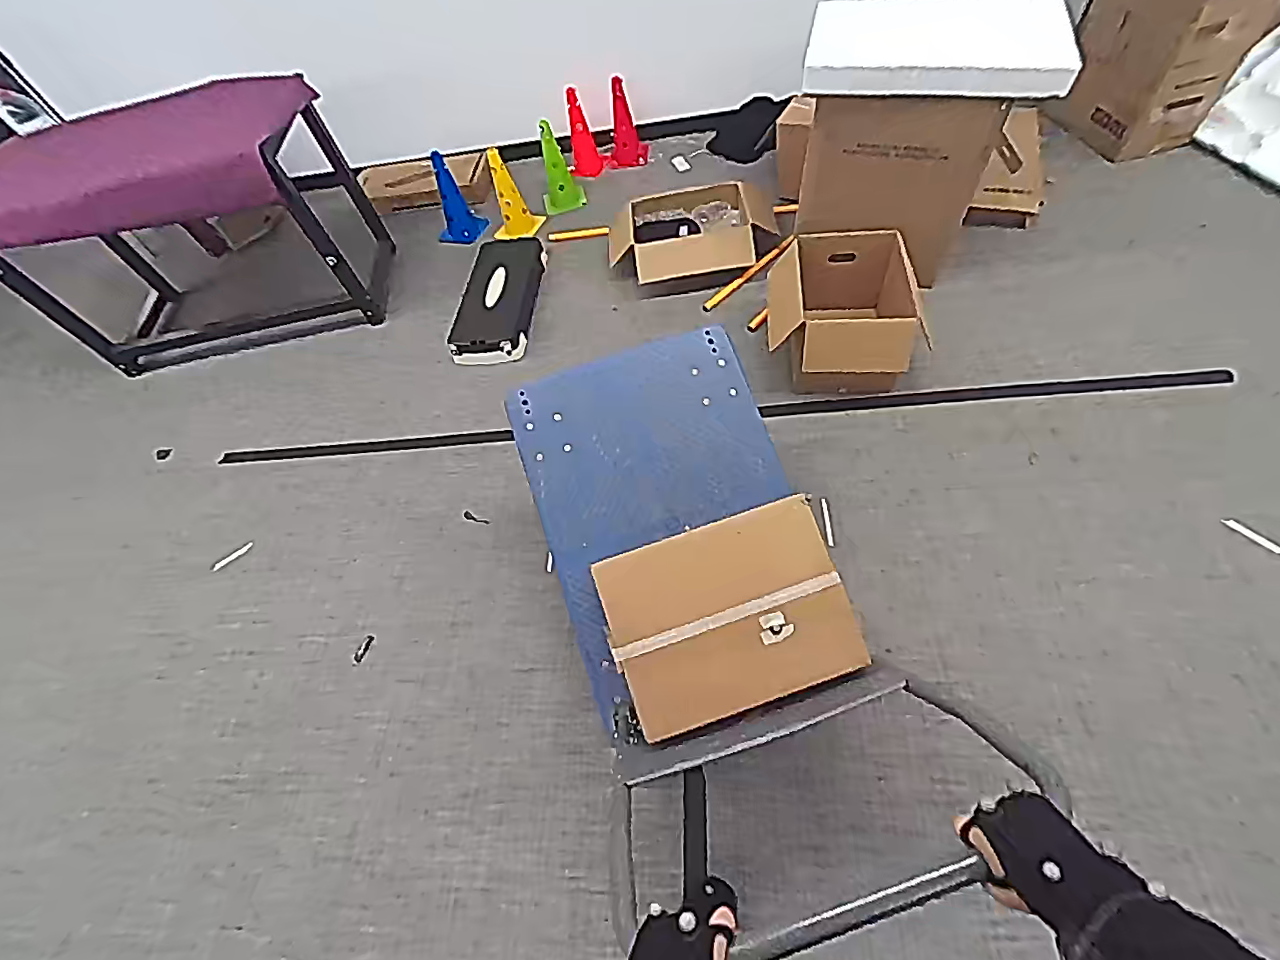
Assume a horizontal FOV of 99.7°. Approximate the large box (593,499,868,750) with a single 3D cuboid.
[{"bbox_3d":[0.150,0.265,1.070,0.408,0.320,0.320,-19,82,-4],"label":"large box"}]
